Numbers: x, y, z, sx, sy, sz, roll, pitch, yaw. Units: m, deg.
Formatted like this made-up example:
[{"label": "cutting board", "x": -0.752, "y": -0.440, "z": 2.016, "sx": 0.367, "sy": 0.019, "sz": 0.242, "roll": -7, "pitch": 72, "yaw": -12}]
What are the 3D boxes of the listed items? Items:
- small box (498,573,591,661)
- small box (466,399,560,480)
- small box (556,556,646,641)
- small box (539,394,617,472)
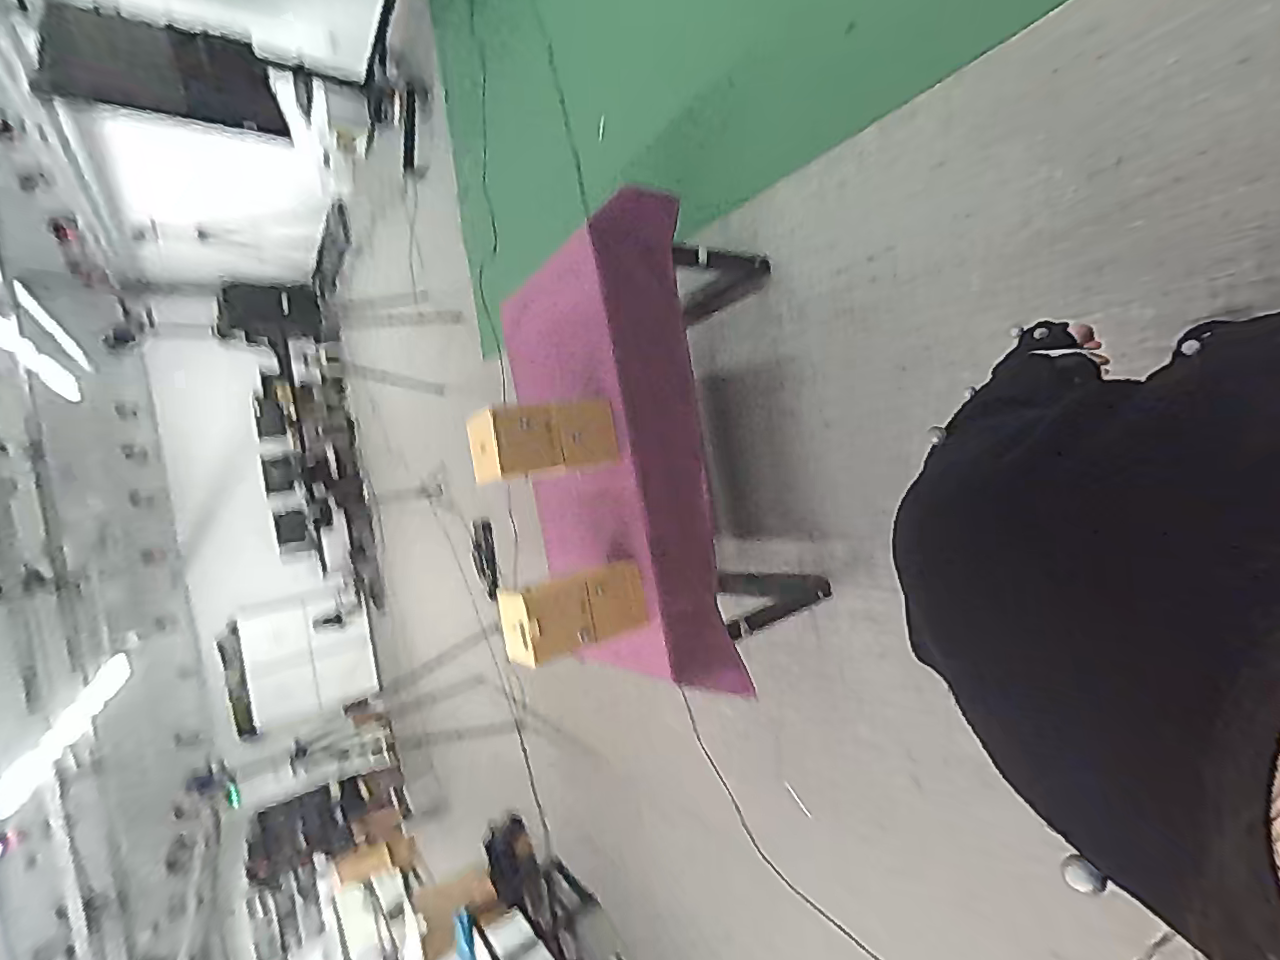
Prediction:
[{"label": "small box", "x": -0.233, "y": 0.332, "z": 1.345, "sx": 0.179, "sy": 0.176, "sz": 0.168, "roll": -10, "pitch": 89, "yaw": 55}, {"label": "small box", "x": -0.309, "y": -0.101, "z": 1.340, "sx": 0.179, "sy": 0.176, "sz": 0.168, "roll": -11, "pitch": 89, "yaw": 54}, {"label": "small box", "x": -0.101, "y": 0.309, "z": 1.441, "sx": 0.168, "sy": 0.176, "sz": 0.179, "roll": -10, "pitch": 90, "yaw": 54}, {"label": "small box", "x": -0.177, "y": -0.124, "z": 1.432, "sx": 0.168, "sy": 0.176, "sz": 0.179, "roll": -7, "pitch": 93, "yaw": 53}]
